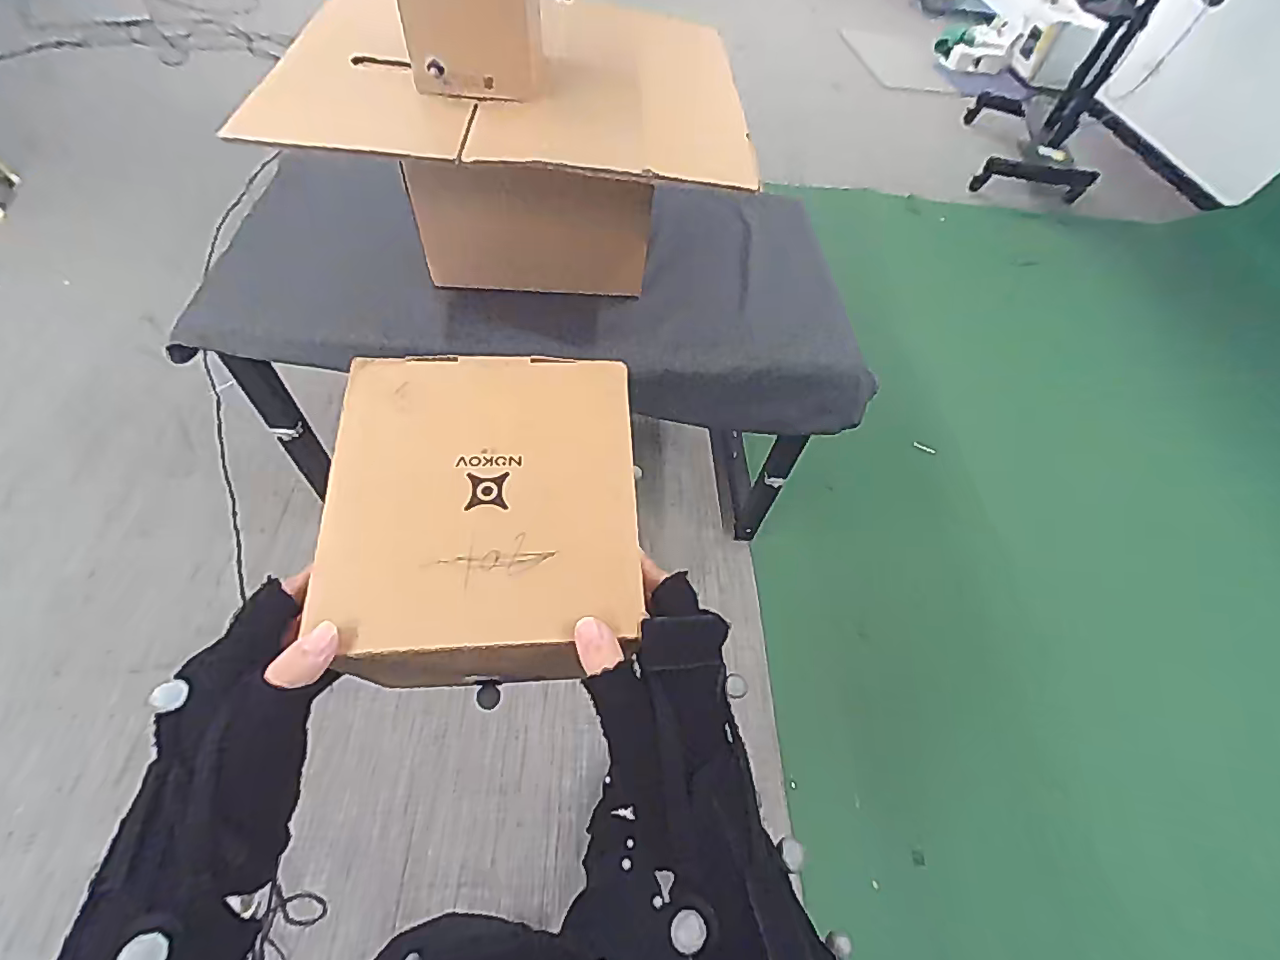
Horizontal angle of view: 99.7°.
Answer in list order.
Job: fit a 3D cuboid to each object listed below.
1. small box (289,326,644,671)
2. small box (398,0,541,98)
[{"bbox_3d":[-0.093,0.023,0.361,0.168,0.176,0.179,-1,65,-8],"label":"small box"},{"bbox_3d":[-0.232,-0.670,0.761,0.168,0.176,0.179,2,56,-4],"label":"small box"}]
